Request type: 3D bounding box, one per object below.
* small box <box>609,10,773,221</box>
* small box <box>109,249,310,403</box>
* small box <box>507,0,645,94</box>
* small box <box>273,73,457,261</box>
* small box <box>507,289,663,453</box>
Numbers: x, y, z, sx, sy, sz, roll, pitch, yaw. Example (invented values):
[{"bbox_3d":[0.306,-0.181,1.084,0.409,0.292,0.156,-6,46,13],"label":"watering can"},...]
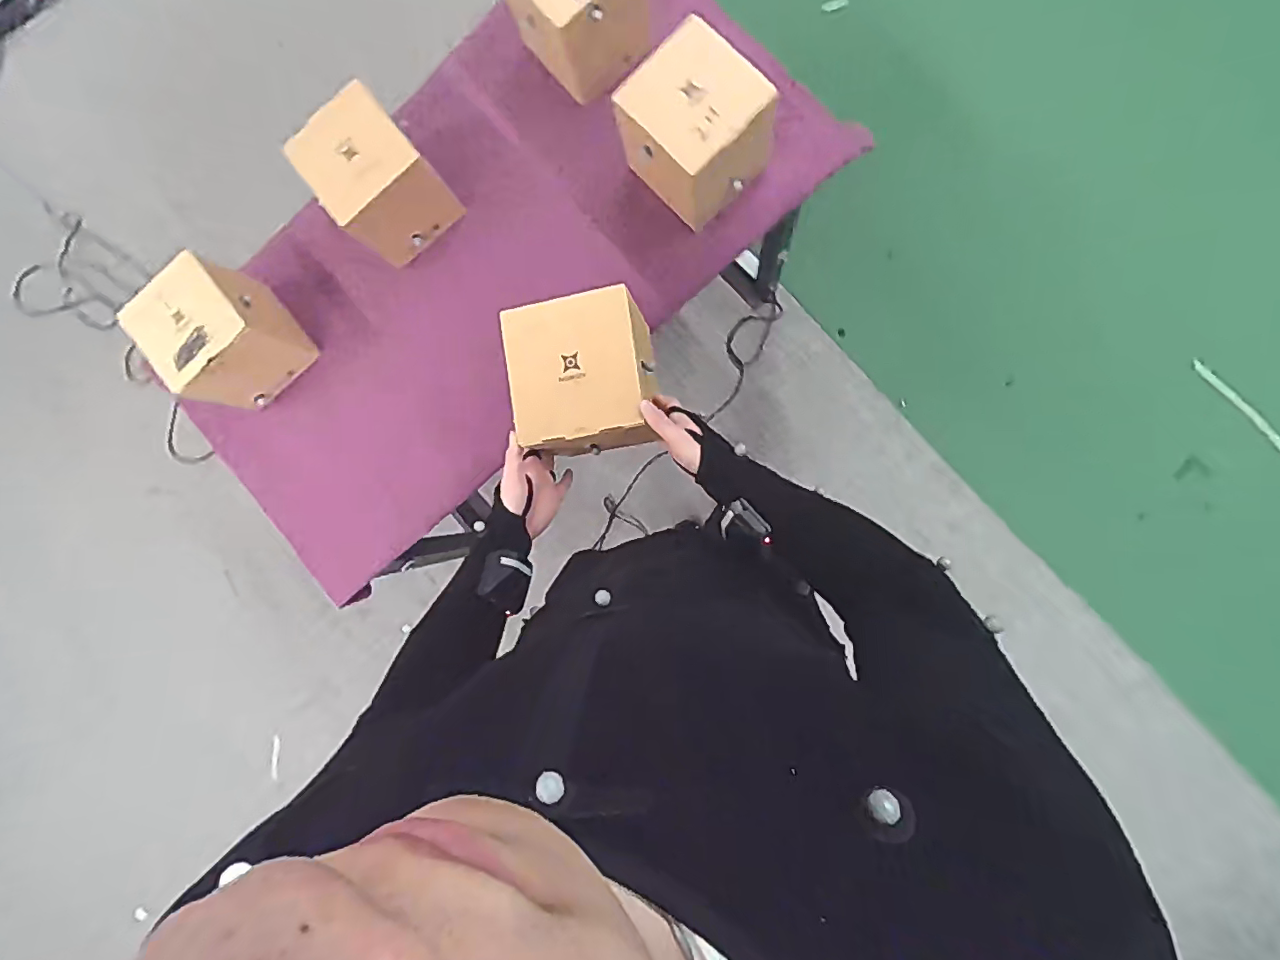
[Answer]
[{"bbox_3d":[0.079,-0.547,0.839,0.168,0.176,0.179,-43,85,6],"label":"small box"},{"bbox_3d":[-0.722,-0.248,0.929,0.168,0.176,0.179,-40,86,4],"label":"small box"},{"bbox_3d":[-0.112,-0.783,0.867,0.168,0.176,0.179,-41,85,5],"label":"small box"},{"bbox_3d":[-0.446,-0.506,0.904,0.168,0.176,0.179,-39,86,5],"label":"small box"},{"bbox_3d":[-0.066,-0.137,0.745,0.168,0.176,0.179,-8,90,9],"label":"small box"}]
